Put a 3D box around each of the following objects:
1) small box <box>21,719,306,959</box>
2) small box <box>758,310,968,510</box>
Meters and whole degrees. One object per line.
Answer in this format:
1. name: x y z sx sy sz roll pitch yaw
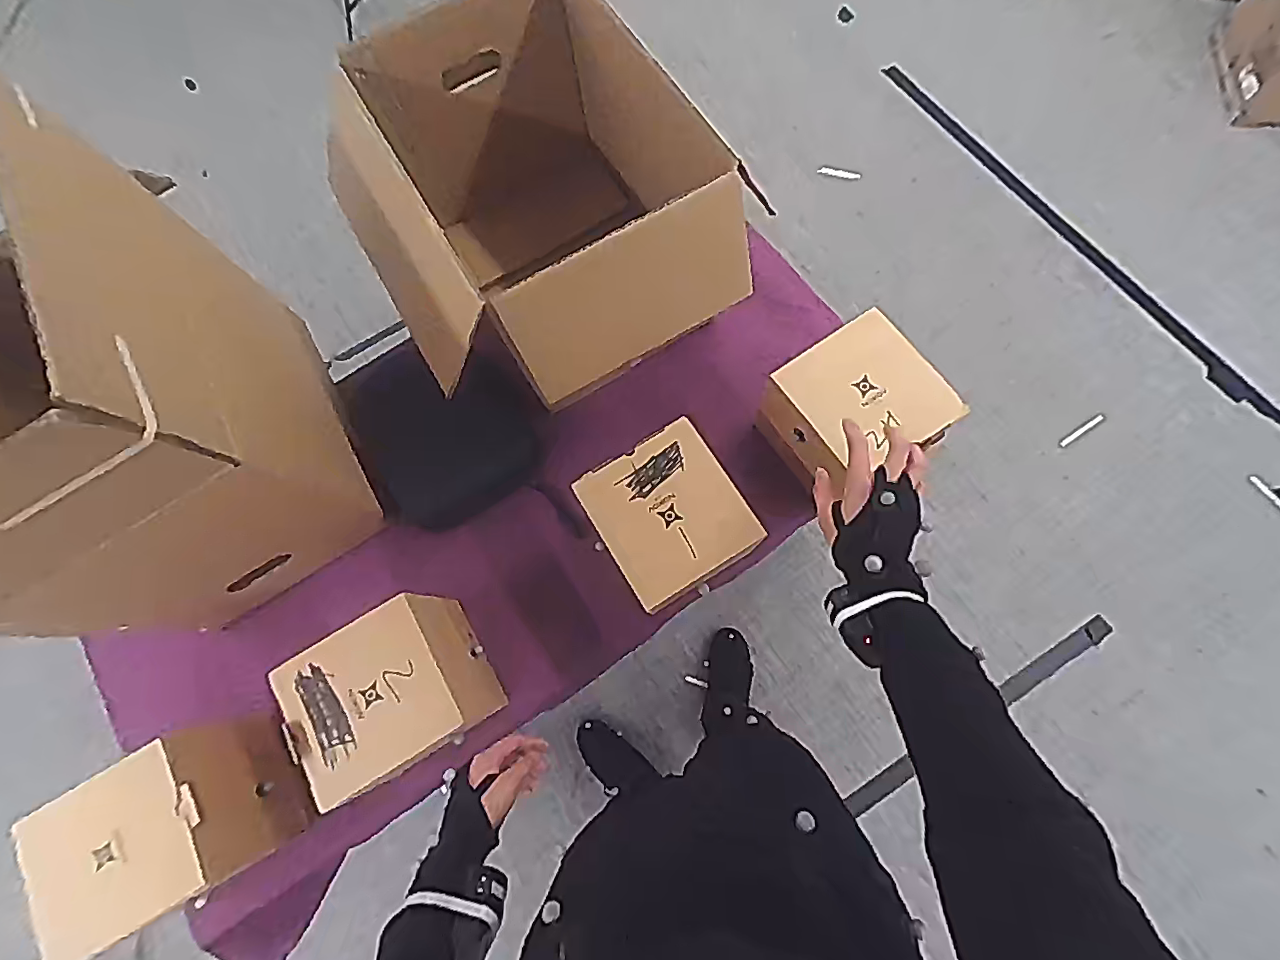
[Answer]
1. small box: -0.555 0.416 0.651 0.179 0.176 0.168 -30 75 -6
2. small box: 0.278 -0.082 0.725 0.168 0.176 0.179 -33 75 -4
